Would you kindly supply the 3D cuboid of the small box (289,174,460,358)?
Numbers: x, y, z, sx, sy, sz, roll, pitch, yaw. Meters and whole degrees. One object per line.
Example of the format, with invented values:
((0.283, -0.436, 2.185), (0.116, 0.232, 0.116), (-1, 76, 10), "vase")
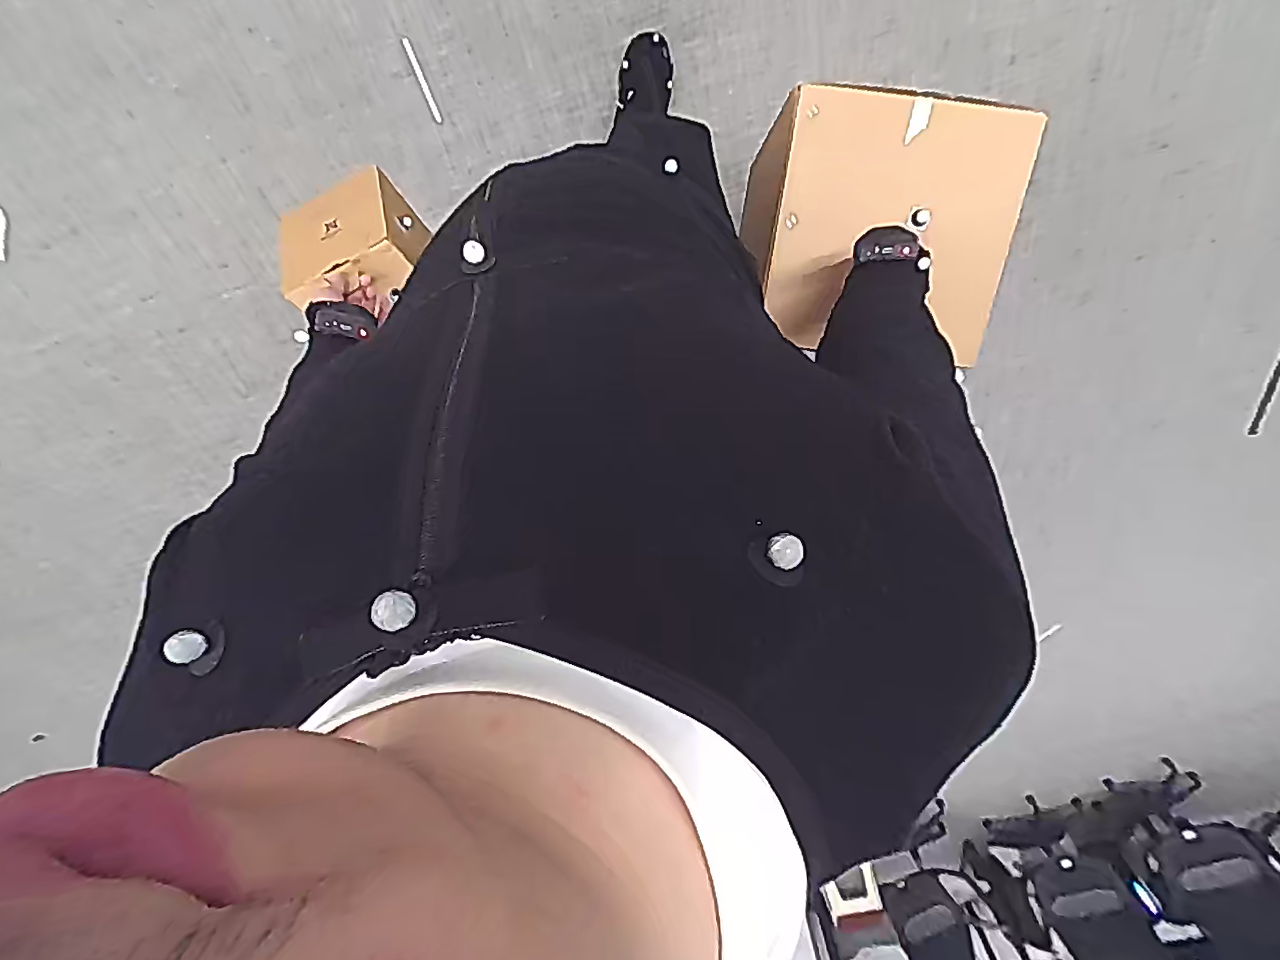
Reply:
((-0.398, -0.312, 0.827), (0.168, 0.179, 0.176), (-24, 152, 7), "small box")
